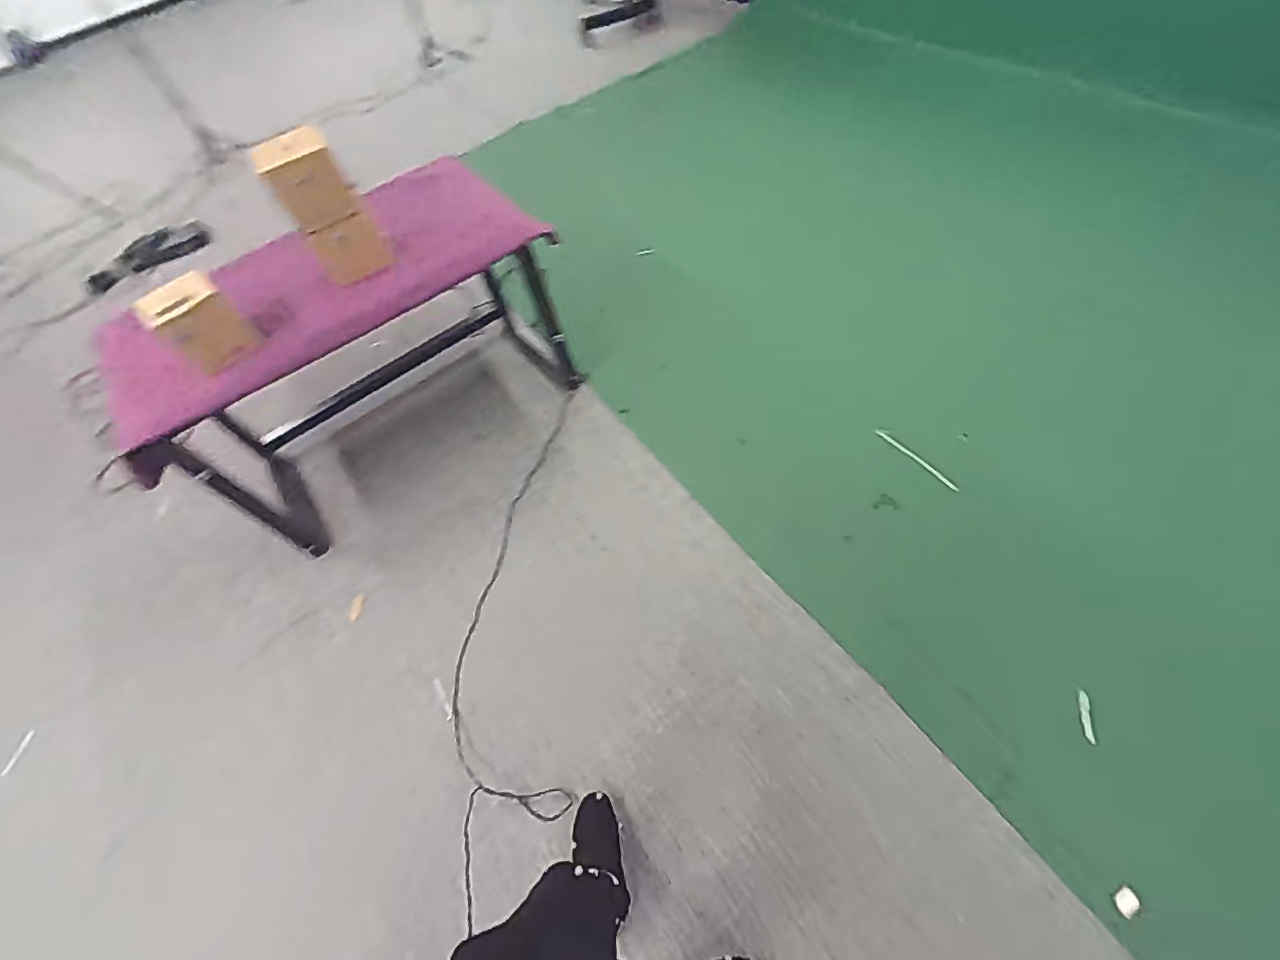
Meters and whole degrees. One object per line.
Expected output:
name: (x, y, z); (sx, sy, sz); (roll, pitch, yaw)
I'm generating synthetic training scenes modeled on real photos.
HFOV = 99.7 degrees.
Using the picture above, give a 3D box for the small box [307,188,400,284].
small box: (-0.824, -0.693, 1.544); (0.179, 0.176, 0.168); (-28, 57, -9)

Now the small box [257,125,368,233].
small box: (-0.848, -0.778, 1.407); (0.179, 0.176, 0.168); (-29, 58, -9)
